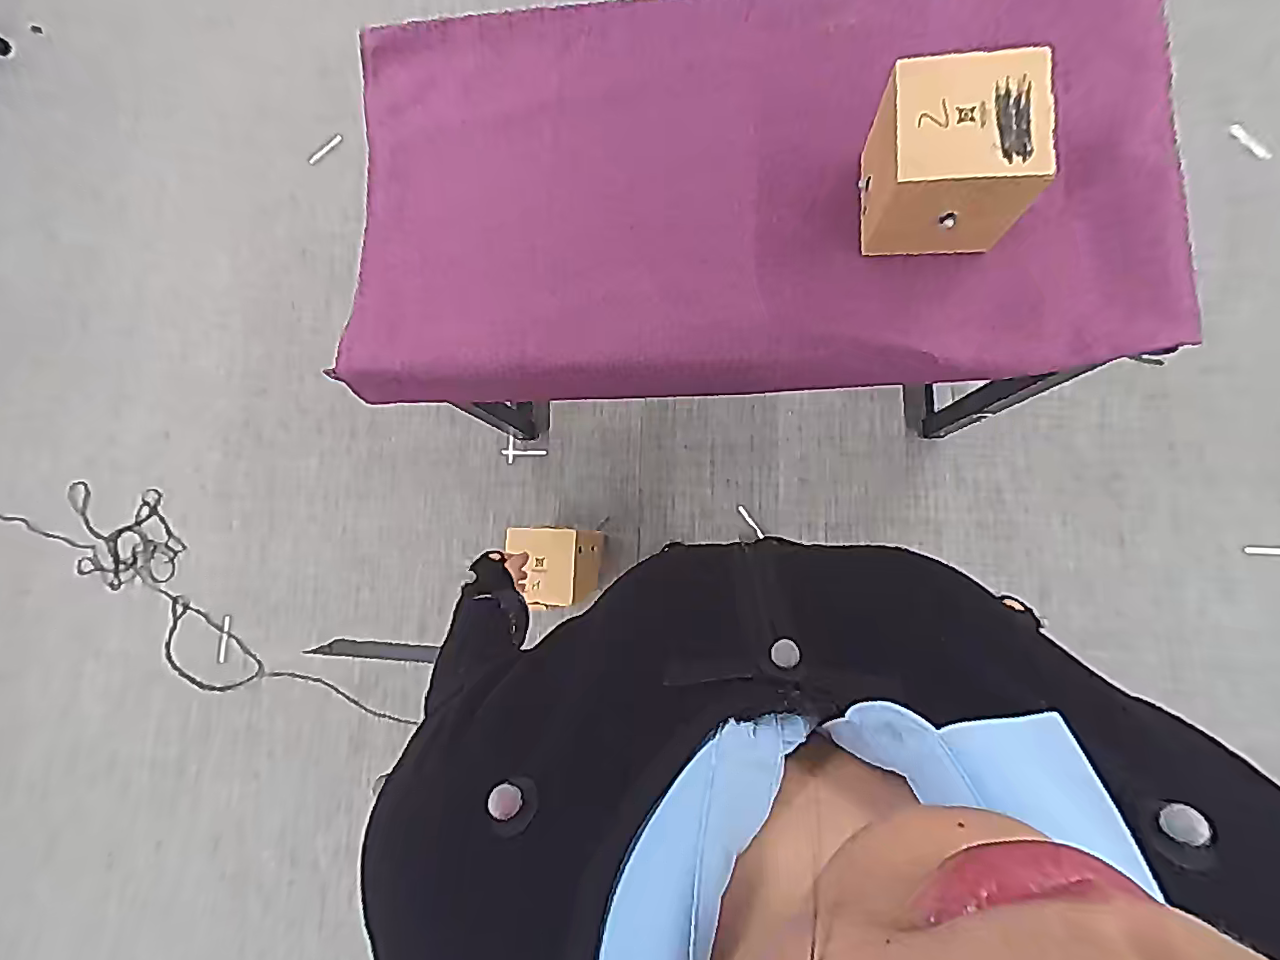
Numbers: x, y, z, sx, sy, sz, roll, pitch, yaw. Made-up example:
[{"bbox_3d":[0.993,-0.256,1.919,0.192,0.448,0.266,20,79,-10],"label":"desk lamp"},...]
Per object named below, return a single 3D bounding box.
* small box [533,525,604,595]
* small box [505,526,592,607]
[{"bbox_3d":[-0.200,0.219,1.468,0.168,0.176,0.179,7,84,8],"label":"small box"},{"bbox_3d":[-0.213,0.204,1.304,0.168,0.176,0.179,1,84,7],"label":"small box"}]
